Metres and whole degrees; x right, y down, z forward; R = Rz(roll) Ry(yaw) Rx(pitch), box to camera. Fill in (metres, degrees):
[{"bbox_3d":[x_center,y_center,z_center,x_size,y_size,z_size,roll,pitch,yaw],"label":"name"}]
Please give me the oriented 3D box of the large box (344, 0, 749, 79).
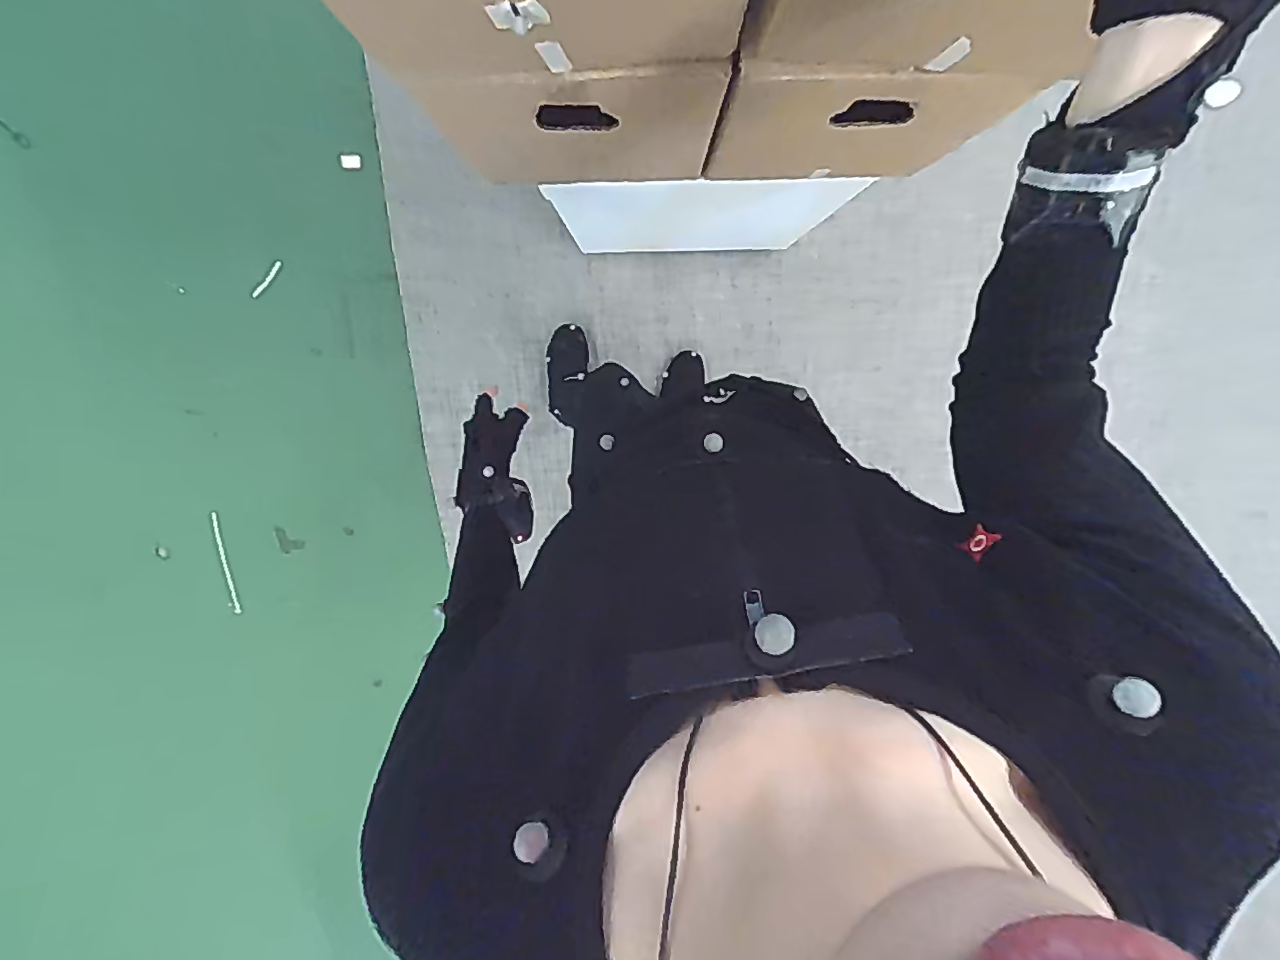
[{"bbox_3d":[-0.083,-0.536,0.301,0.320,0.320,0.408,-3,102,2],"label":"large box"}]
